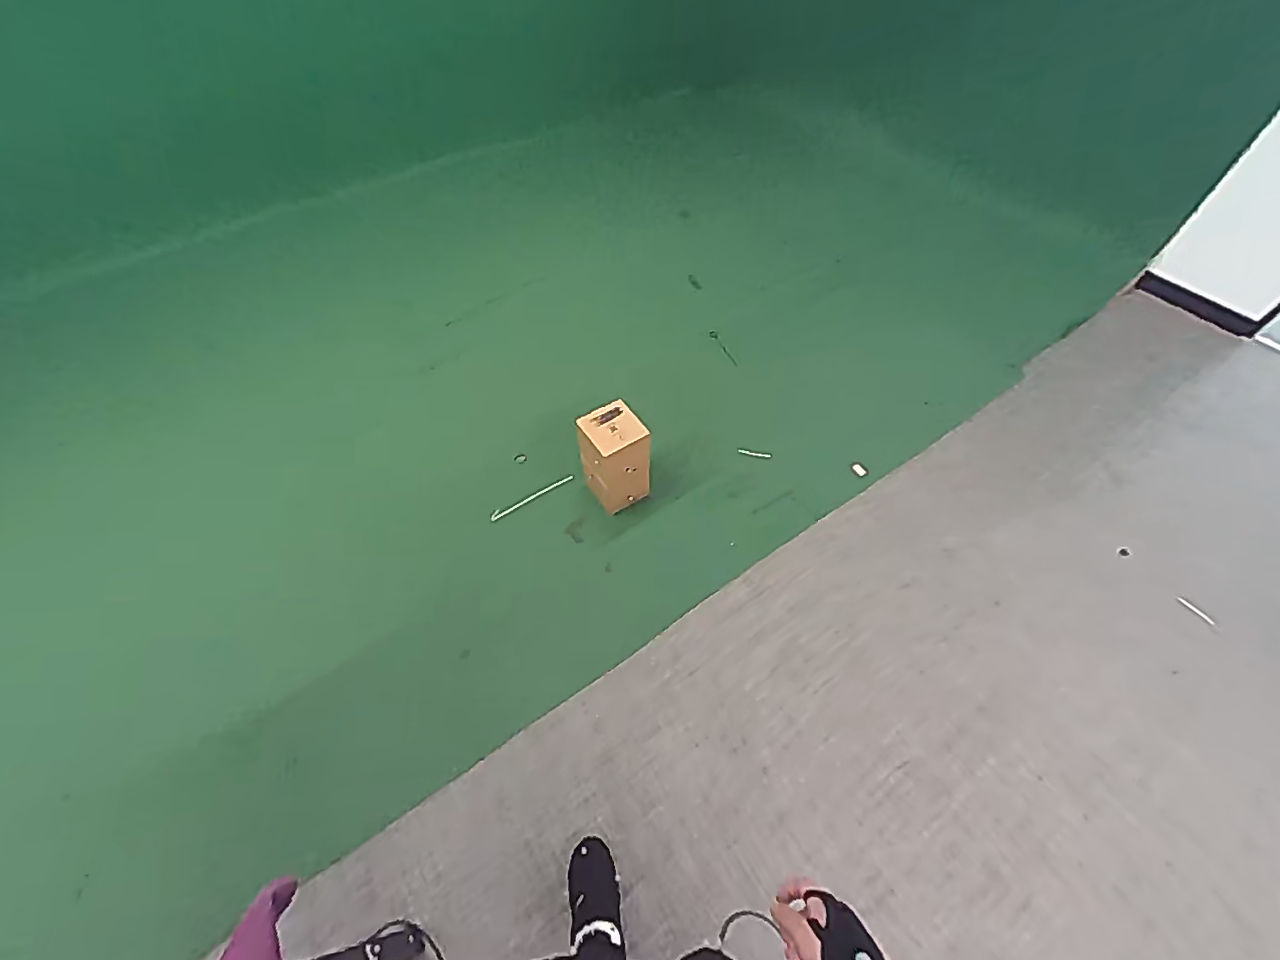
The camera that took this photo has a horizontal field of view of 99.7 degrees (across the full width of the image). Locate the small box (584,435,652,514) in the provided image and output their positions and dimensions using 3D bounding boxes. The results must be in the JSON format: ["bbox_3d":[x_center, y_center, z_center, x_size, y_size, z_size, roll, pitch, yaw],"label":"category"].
[{"bbox_3d":[-0.075,-0.015,1.849,0.168,0.176,0.179,-29,60,-17],"label":"small box"}]
